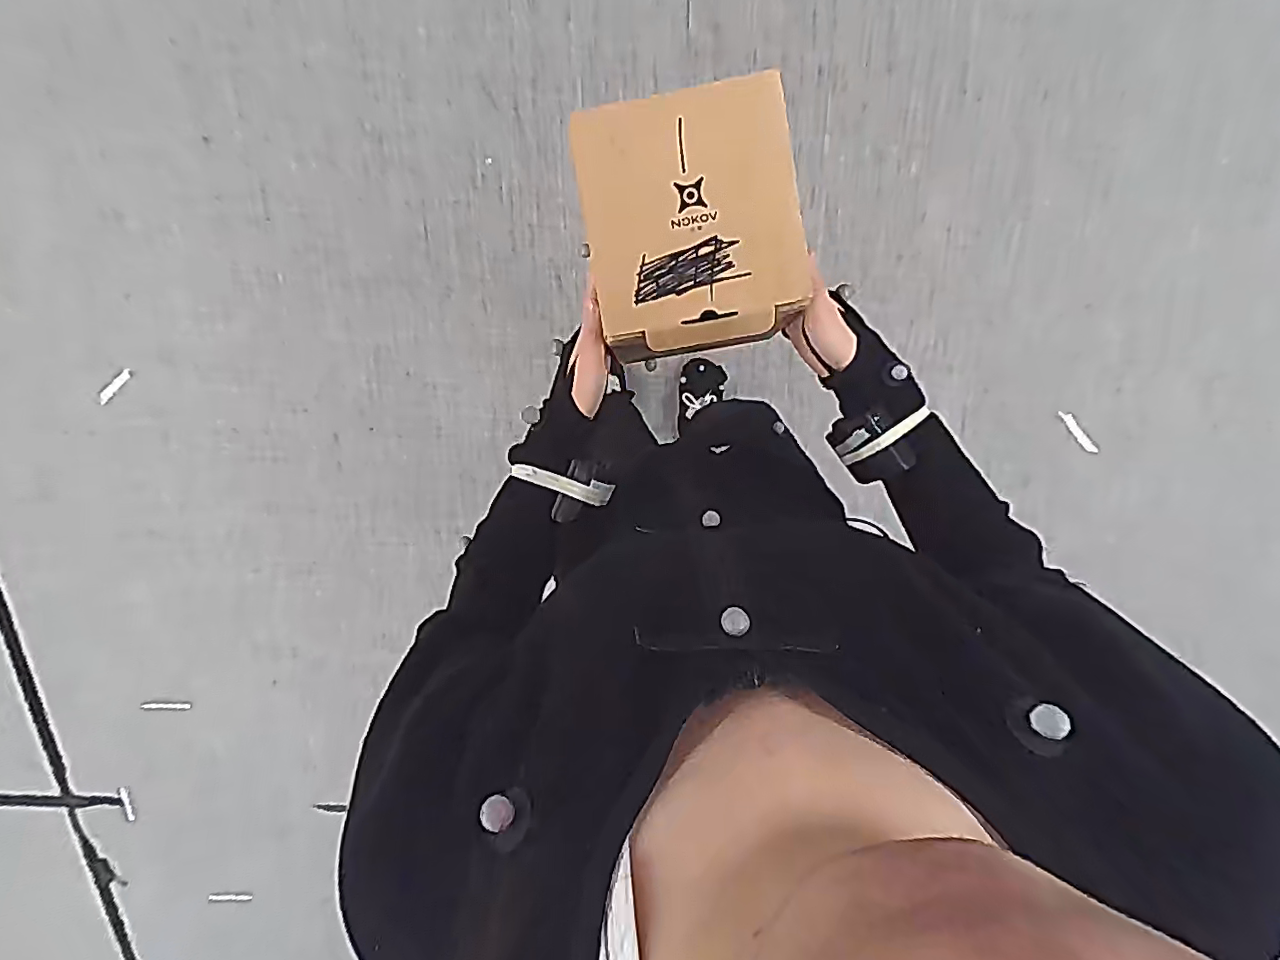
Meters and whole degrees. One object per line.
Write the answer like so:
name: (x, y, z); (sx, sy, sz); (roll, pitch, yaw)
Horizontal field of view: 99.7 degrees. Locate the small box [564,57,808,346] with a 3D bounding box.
small box: (0.043, -0.225, 0.493); (0.168, 0.176, 0.179); (-11, 97, 5)
